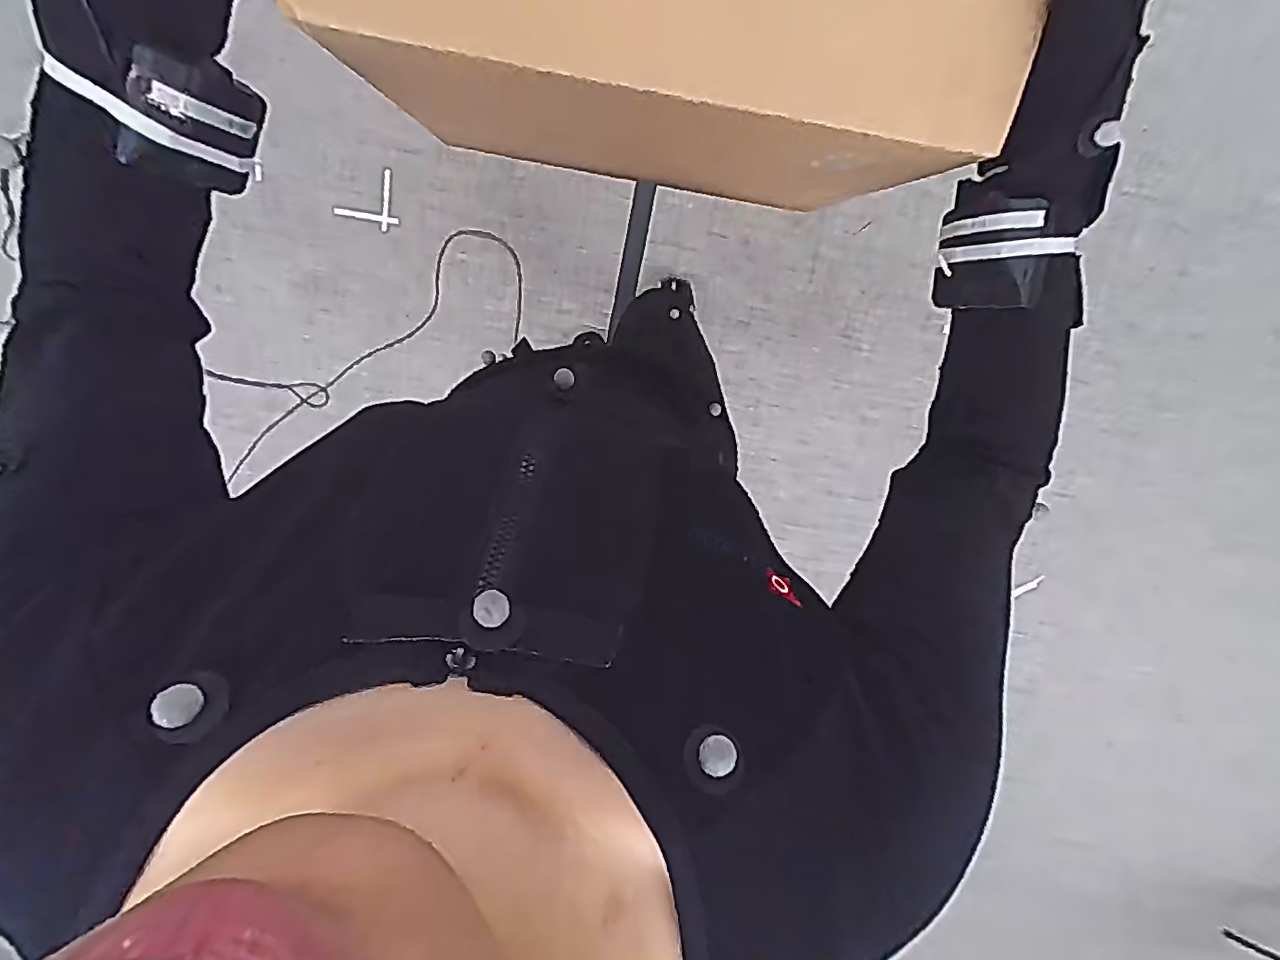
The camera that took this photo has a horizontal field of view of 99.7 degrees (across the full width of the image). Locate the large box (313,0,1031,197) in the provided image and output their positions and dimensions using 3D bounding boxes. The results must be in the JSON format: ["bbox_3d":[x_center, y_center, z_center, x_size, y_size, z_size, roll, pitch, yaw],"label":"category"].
[{"bbox_3d":[0.026,-0.424,0.397,0.408,0.320,0.320,6,111,-7],"label":"large box"}]
